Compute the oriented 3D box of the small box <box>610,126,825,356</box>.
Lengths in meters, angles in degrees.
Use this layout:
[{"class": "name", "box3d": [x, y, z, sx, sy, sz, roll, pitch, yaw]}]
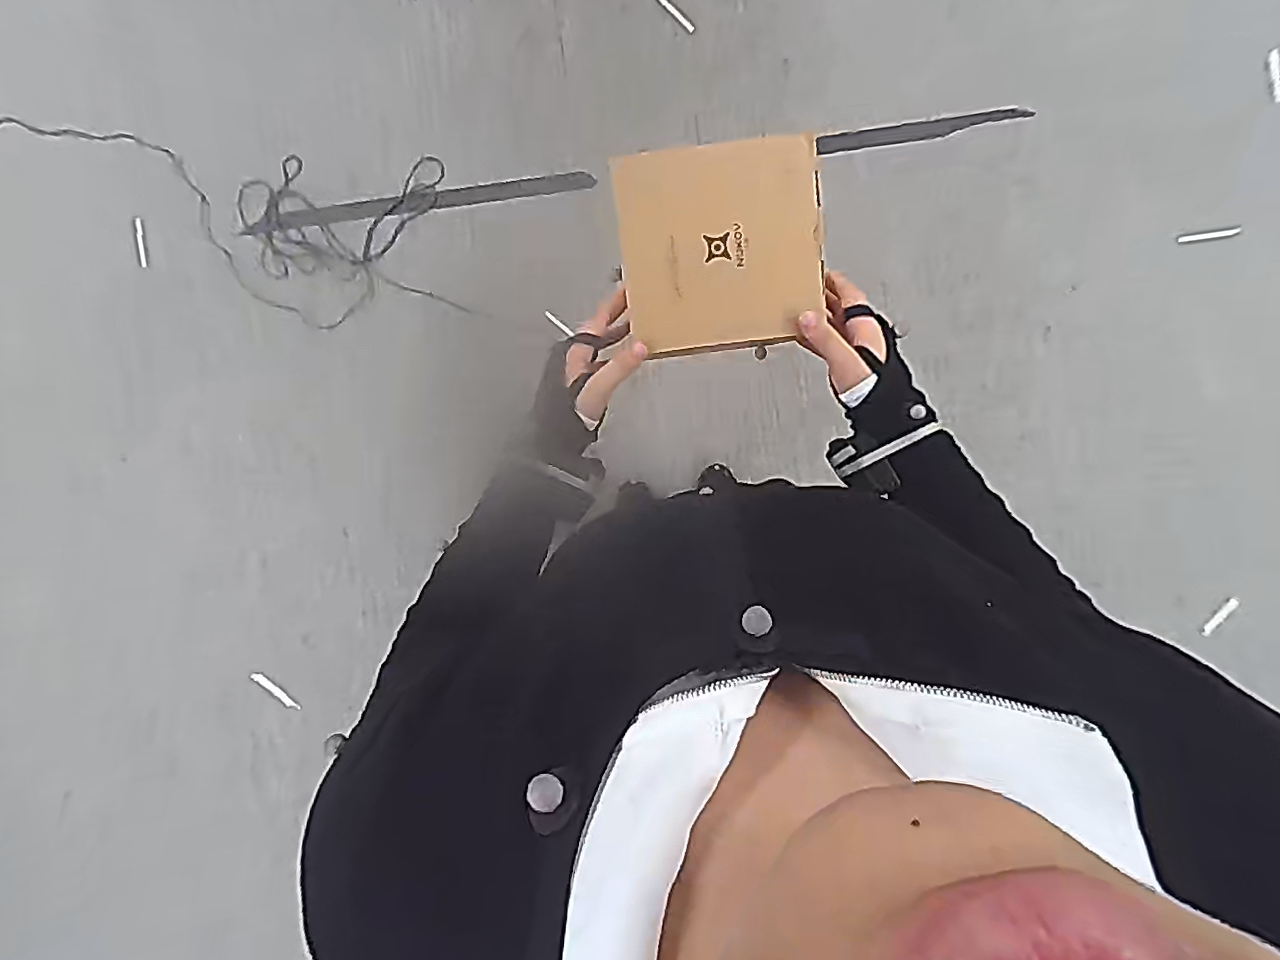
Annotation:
[{"class": "small box", "box3d": [0.068, -0.222, 0.548, 0.179, 0.176, 0.168, -8, 100, 2]}]
